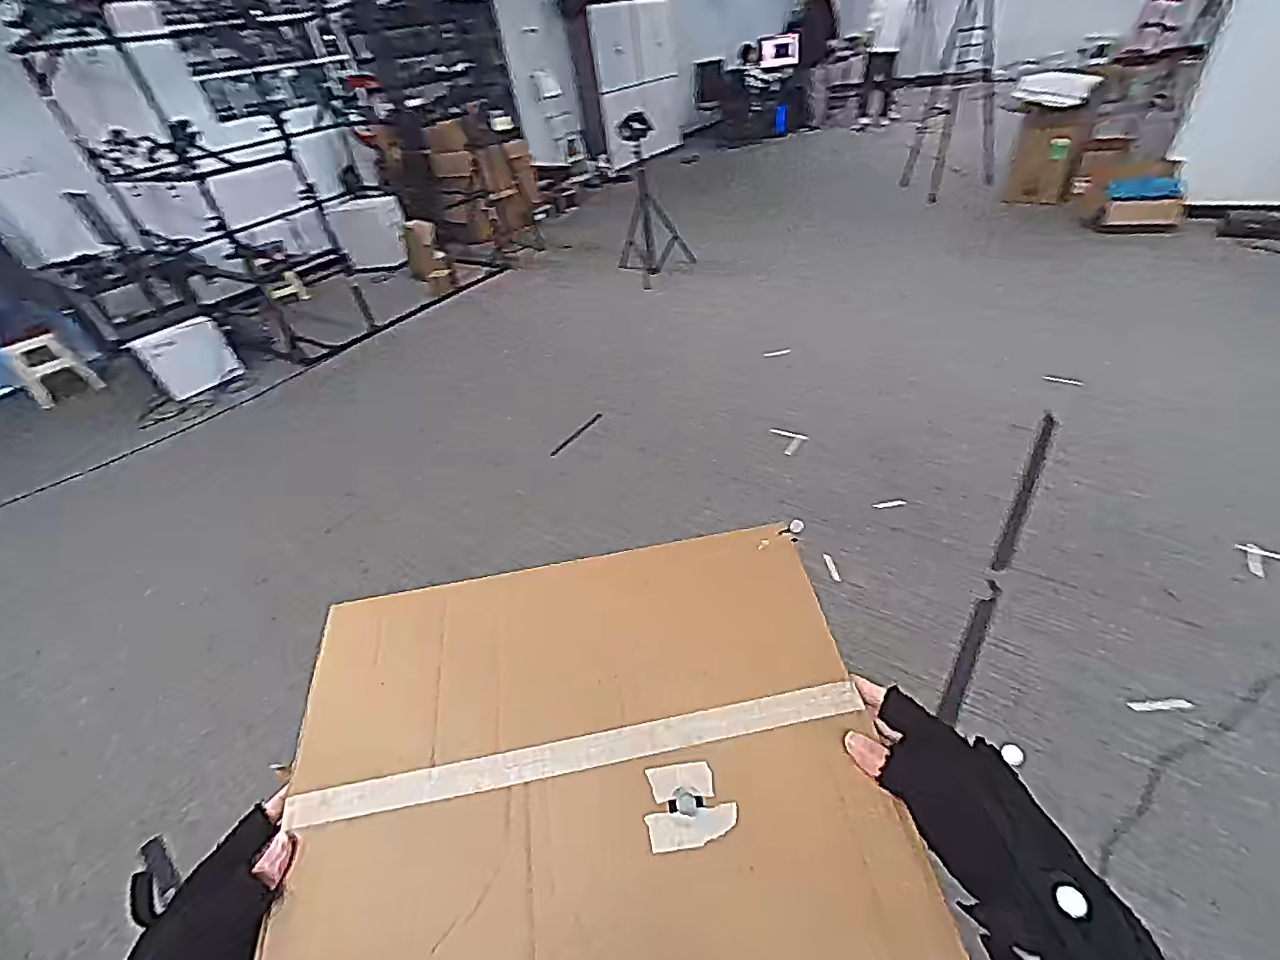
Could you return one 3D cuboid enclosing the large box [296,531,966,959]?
[{"bbox_3d":[-0.020,0.290,0.508,0.408,0.320,0.320,-9,51,-3],"label":"large box"}]
